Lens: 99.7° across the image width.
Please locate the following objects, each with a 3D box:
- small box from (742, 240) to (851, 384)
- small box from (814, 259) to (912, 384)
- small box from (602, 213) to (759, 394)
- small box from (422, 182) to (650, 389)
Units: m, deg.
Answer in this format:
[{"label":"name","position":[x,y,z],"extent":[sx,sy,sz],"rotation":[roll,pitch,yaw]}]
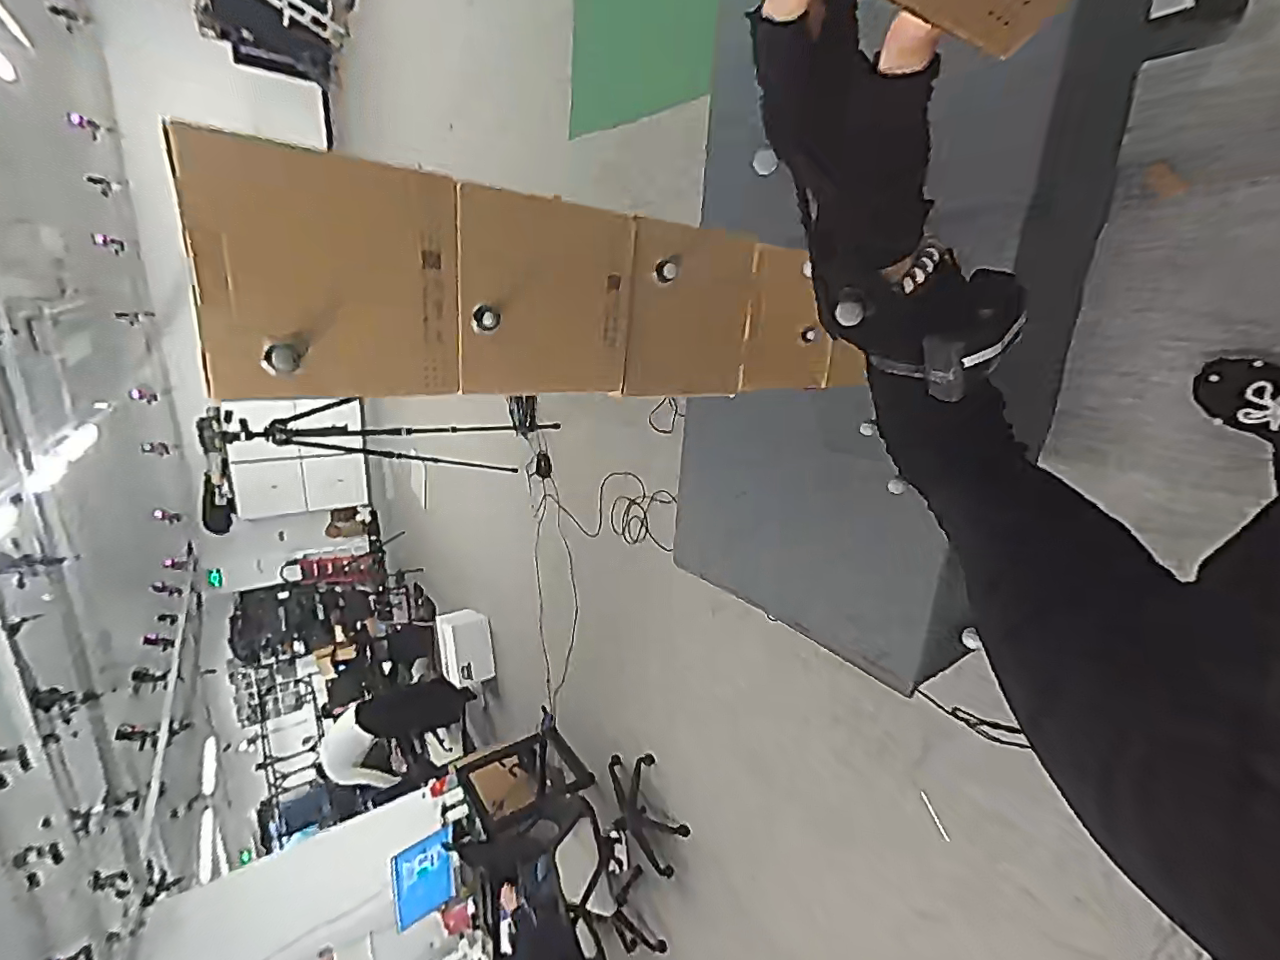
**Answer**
[{"label":"small box","position":[0.154,-0.224,0.741],"extent":[0.179,0.176,0.168],"rotation":[24,117,51]},{"label":"small box","position":[0.286,-0.244,0.832],"extent":[0.179,0.176,0.168],"rotation":[25,117,52]},{"label":"small box","position":[0.021,-0.204,0.645],"extent":[0.168,0.176,0.179],"rotation":[27,118,50]},{"label":"small box","position":[-0.112,-0.189,0.552],"extent":[0.179,0.176,0.168],"rotation":[28,119,50]}]
